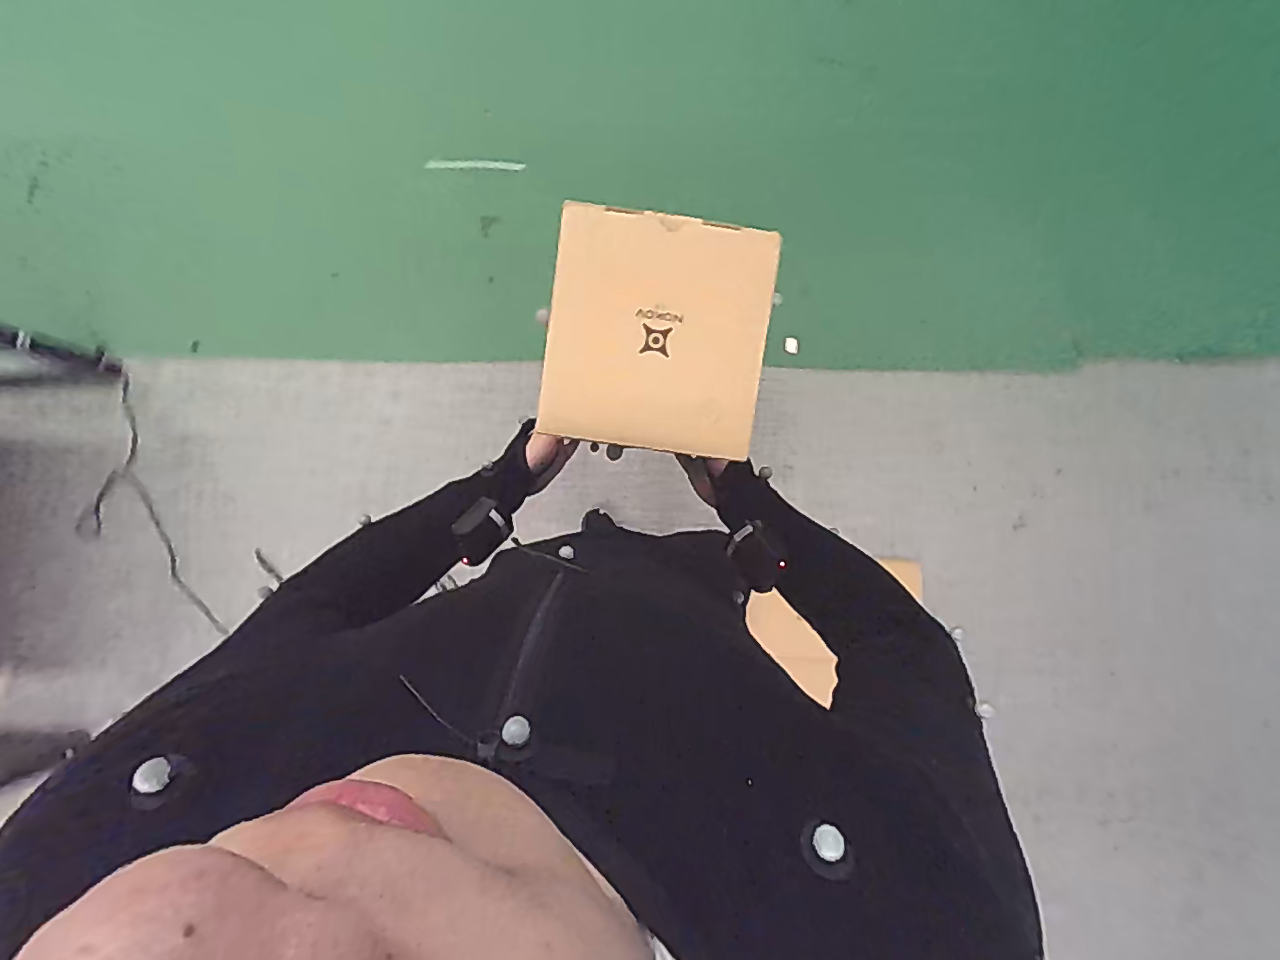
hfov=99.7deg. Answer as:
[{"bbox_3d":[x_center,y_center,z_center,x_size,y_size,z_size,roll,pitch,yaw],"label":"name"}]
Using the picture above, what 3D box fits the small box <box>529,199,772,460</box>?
[{"bbox_3d":[0.006,-0.117,0.482,0.168,0.176,0.179,7,94,-1],"label":"small box"}]
